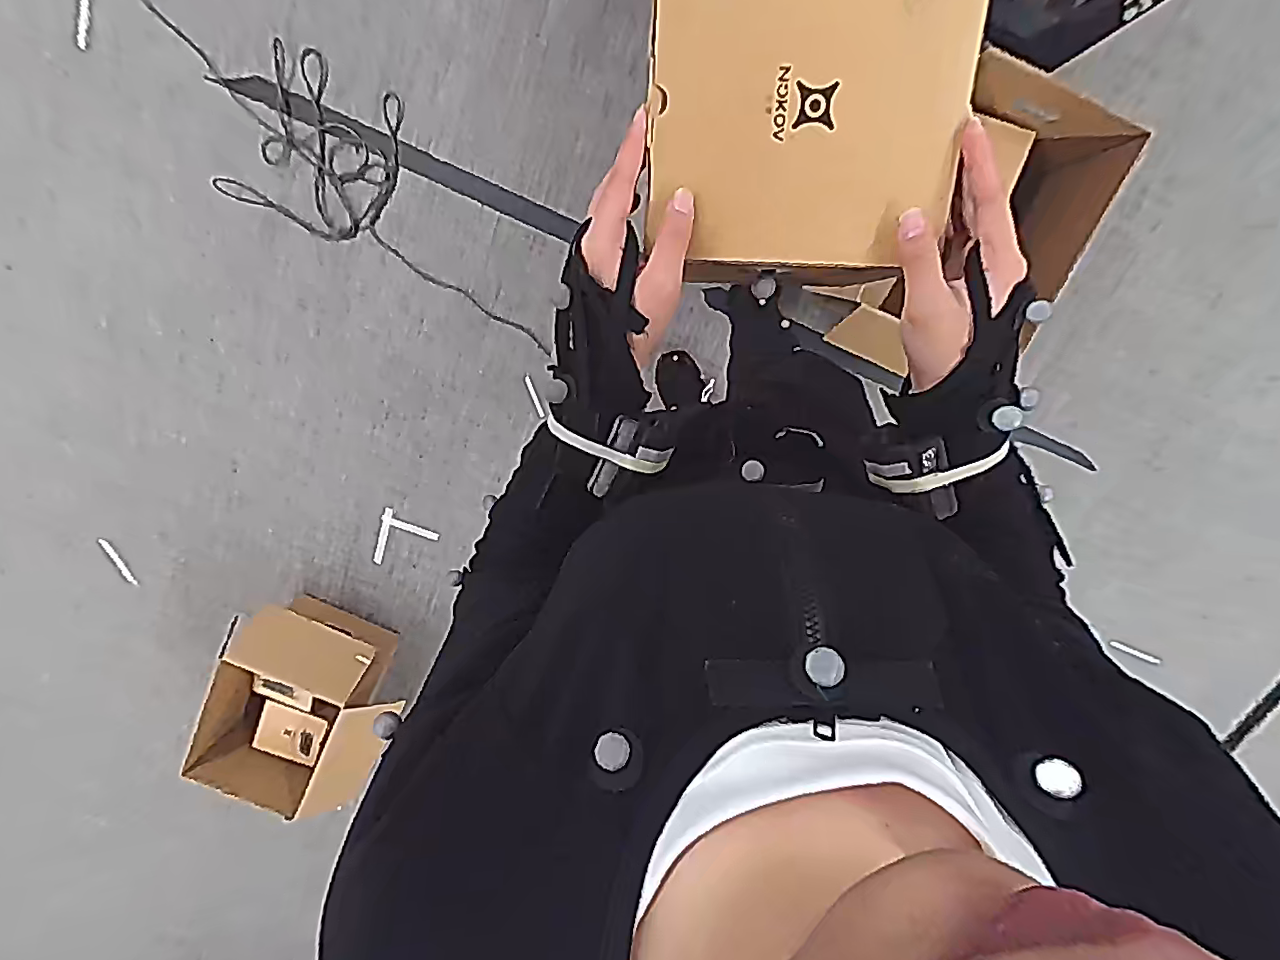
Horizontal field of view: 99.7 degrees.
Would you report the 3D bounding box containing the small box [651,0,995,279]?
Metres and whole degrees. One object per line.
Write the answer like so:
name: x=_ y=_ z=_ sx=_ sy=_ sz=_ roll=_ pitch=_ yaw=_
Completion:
small box: x=0.100 y=-0.232 z=0.372 sx=0.179 sy=0.176 sz=0.168 roll=3 pitch=107 yaw=3
